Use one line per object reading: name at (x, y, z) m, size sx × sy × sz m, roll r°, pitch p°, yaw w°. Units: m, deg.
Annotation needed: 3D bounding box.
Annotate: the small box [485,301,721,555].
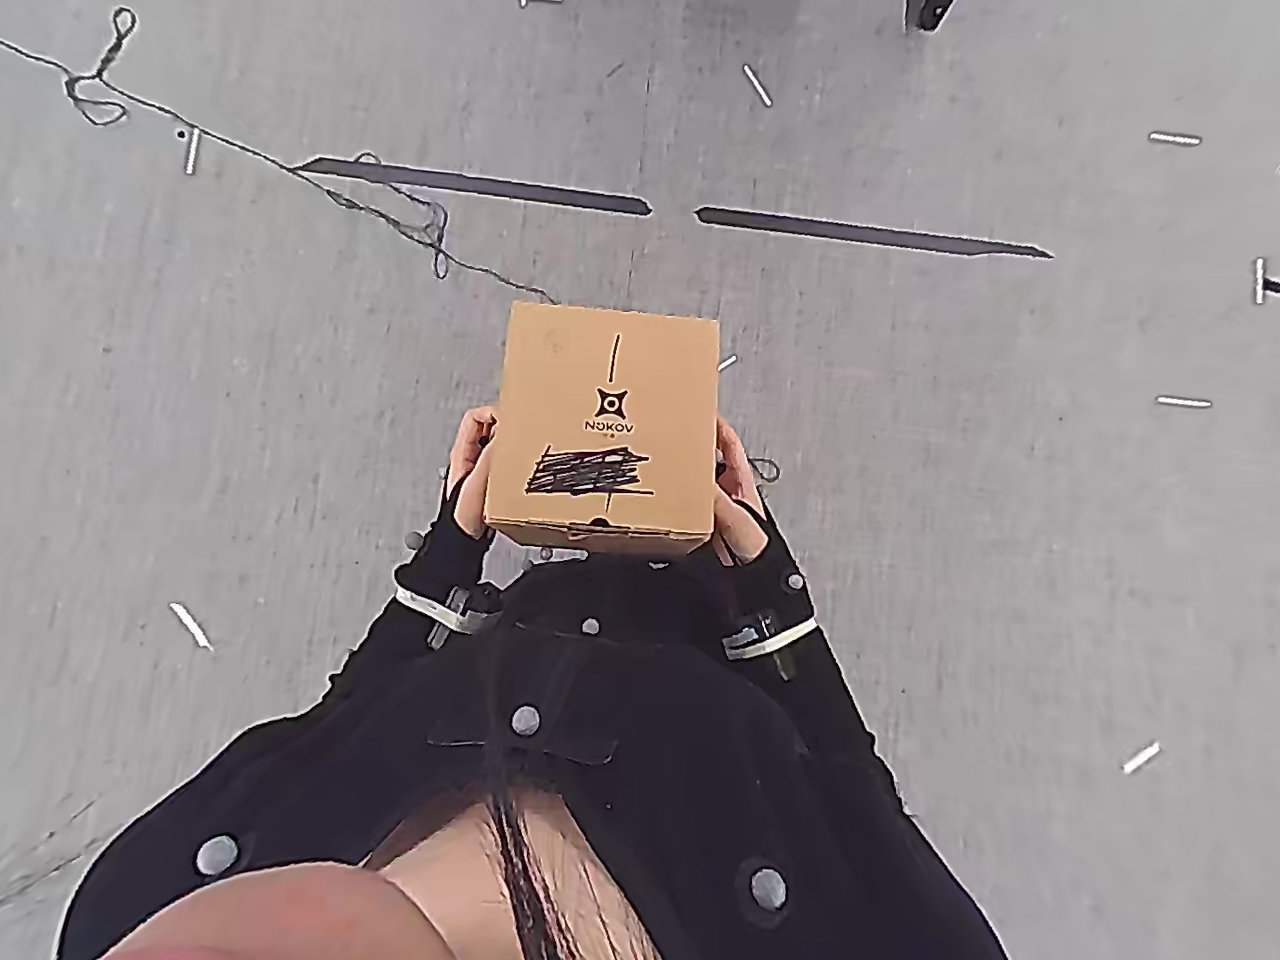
small box at (-0.028, -0.031, 0.482) m, size 0.168 × 0.176 × 0.179 m, roll 5°, pitch 76°, yaw -3°
